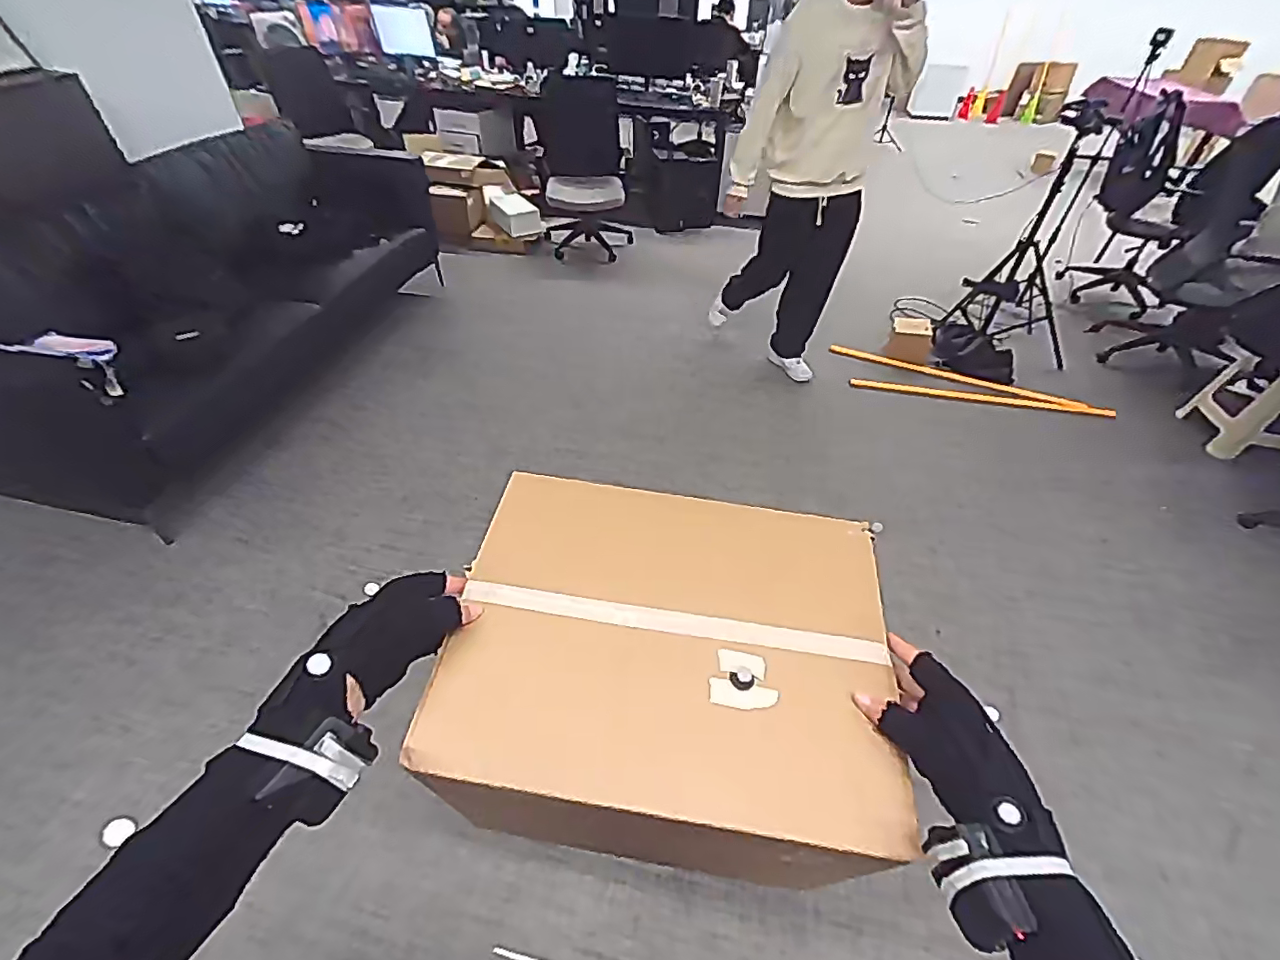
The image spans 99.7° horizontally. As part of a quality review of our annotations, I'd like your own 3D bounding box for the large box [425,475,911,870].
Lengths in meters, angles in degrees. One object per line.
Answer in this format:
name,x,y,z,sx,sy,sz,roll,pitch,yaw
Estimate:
large box,0.028,0.230,0.639,0.408,0.320,0.320,9,51,3
